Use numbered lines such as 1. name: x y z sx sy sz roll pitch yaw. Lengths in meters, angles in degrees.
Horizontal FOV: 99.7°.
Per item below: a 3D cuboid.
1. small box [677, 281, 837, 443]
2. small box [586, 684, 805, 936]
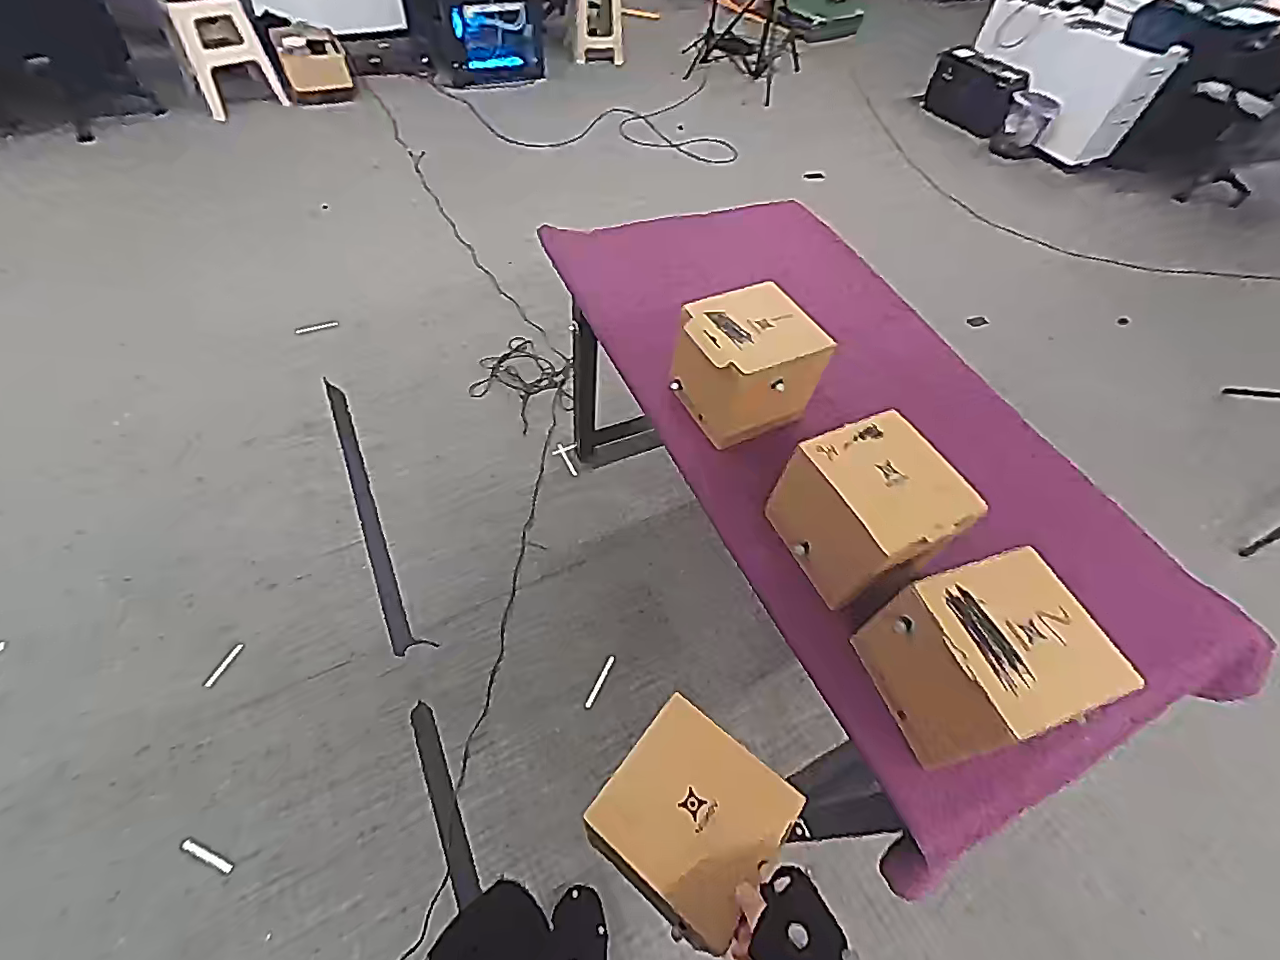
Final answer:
1. small box: 0.173 -0.185 0.869 0.179 0.176 0.168 -22 61 -20
2. small box: 0.053 0.378 0.624 0.179 0.176 0.168 33 57 19
